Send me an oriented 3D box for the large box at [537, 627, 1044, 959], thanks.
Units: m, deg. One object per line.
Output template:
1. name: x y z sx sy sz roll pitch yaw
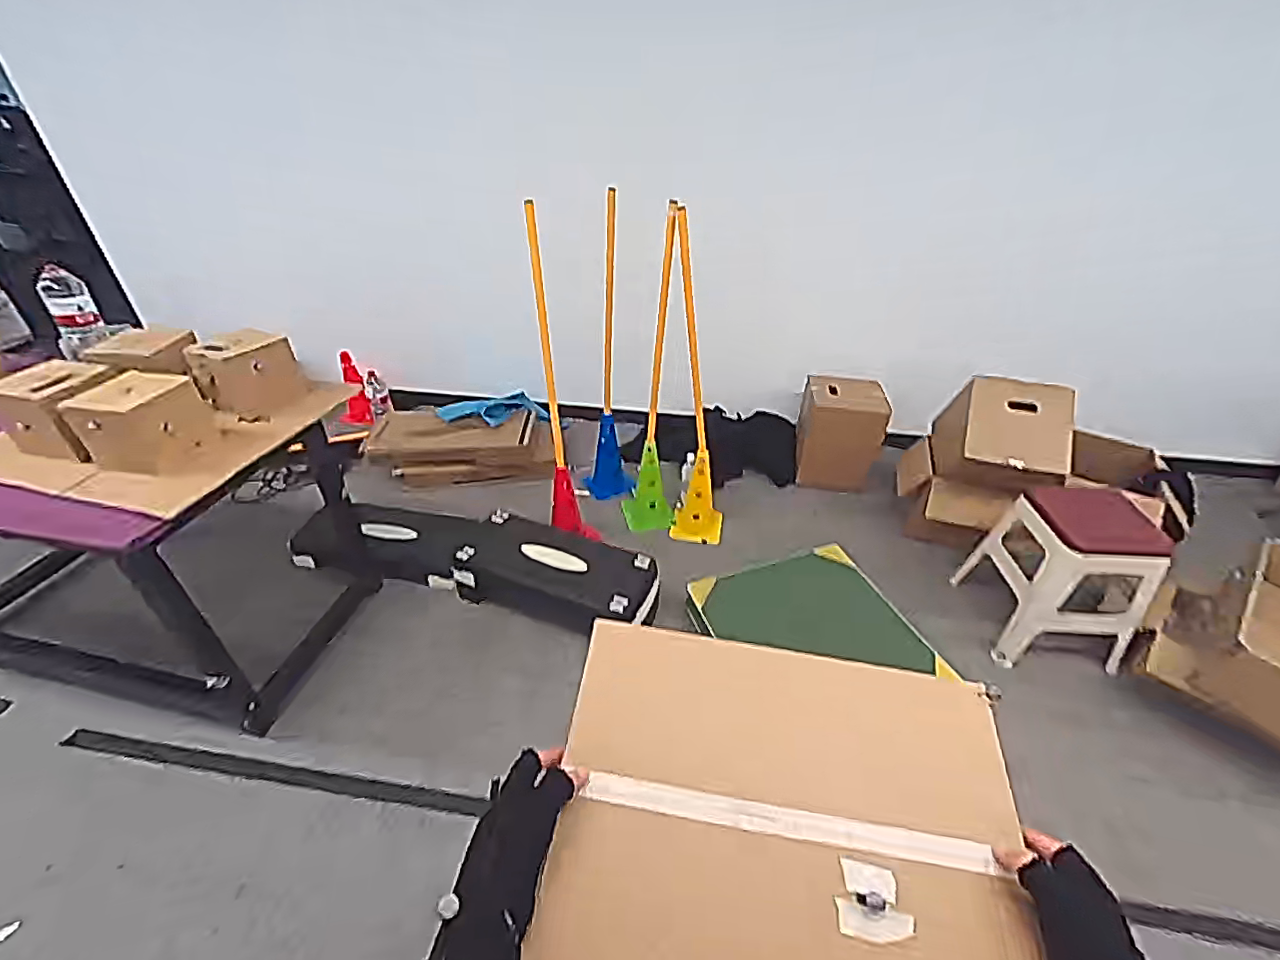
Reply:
1. large box: 0.127 0.396 0.598 0.408 0.320 0.320 8 50 4
